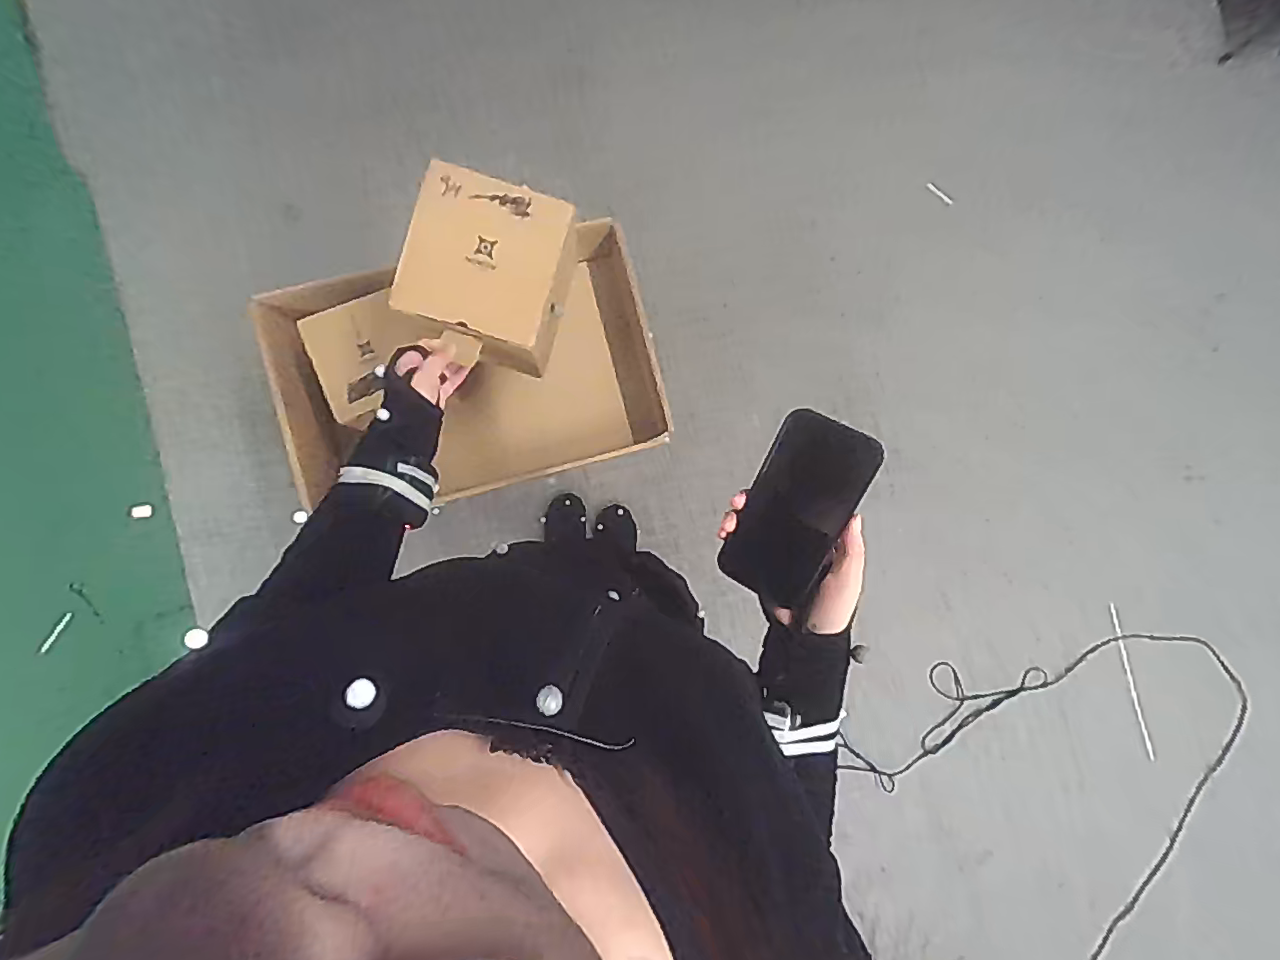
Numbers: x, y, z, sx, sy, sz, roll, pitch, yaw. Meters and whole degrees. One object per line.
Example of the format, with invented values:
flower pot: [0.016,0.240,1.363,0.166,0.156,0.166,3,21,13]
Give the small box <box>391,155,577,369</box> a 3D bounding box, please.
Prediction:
small box: [-0.177,-0.251,0.673,0.168,0.176,0.179,16,90,-5]
